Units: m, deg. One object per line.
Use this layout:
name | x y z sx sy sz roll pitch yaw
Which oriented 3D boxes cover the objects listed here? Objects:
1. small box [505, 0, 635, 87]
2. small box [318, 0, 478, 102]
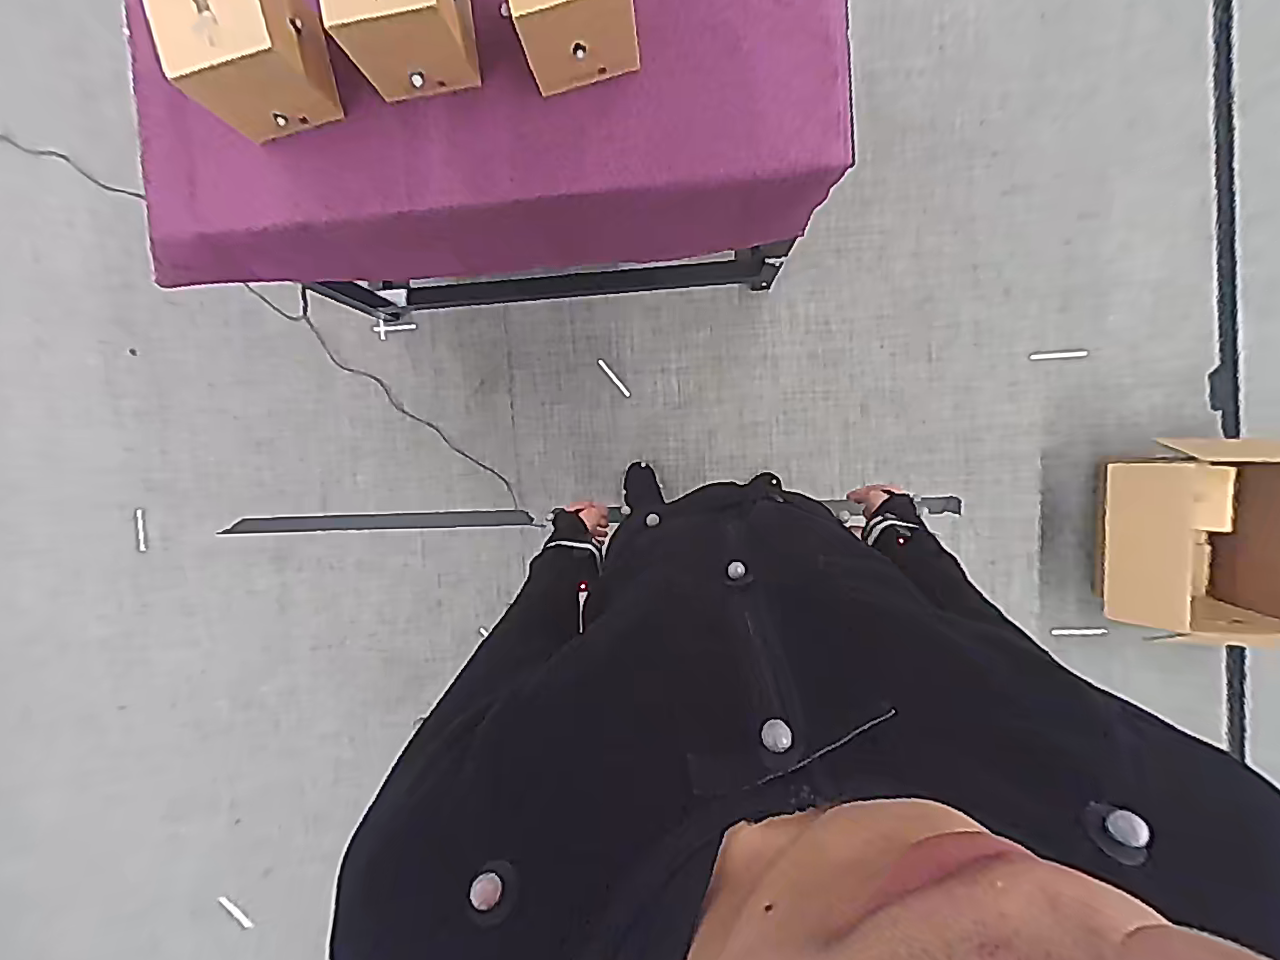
small box | -0.108 -0.723 0.795 0.168 0.176 0.179 -13 92 4
small box | -0.361 -0.720 0.814 0.168 0.176 0.179 -7 93 5
